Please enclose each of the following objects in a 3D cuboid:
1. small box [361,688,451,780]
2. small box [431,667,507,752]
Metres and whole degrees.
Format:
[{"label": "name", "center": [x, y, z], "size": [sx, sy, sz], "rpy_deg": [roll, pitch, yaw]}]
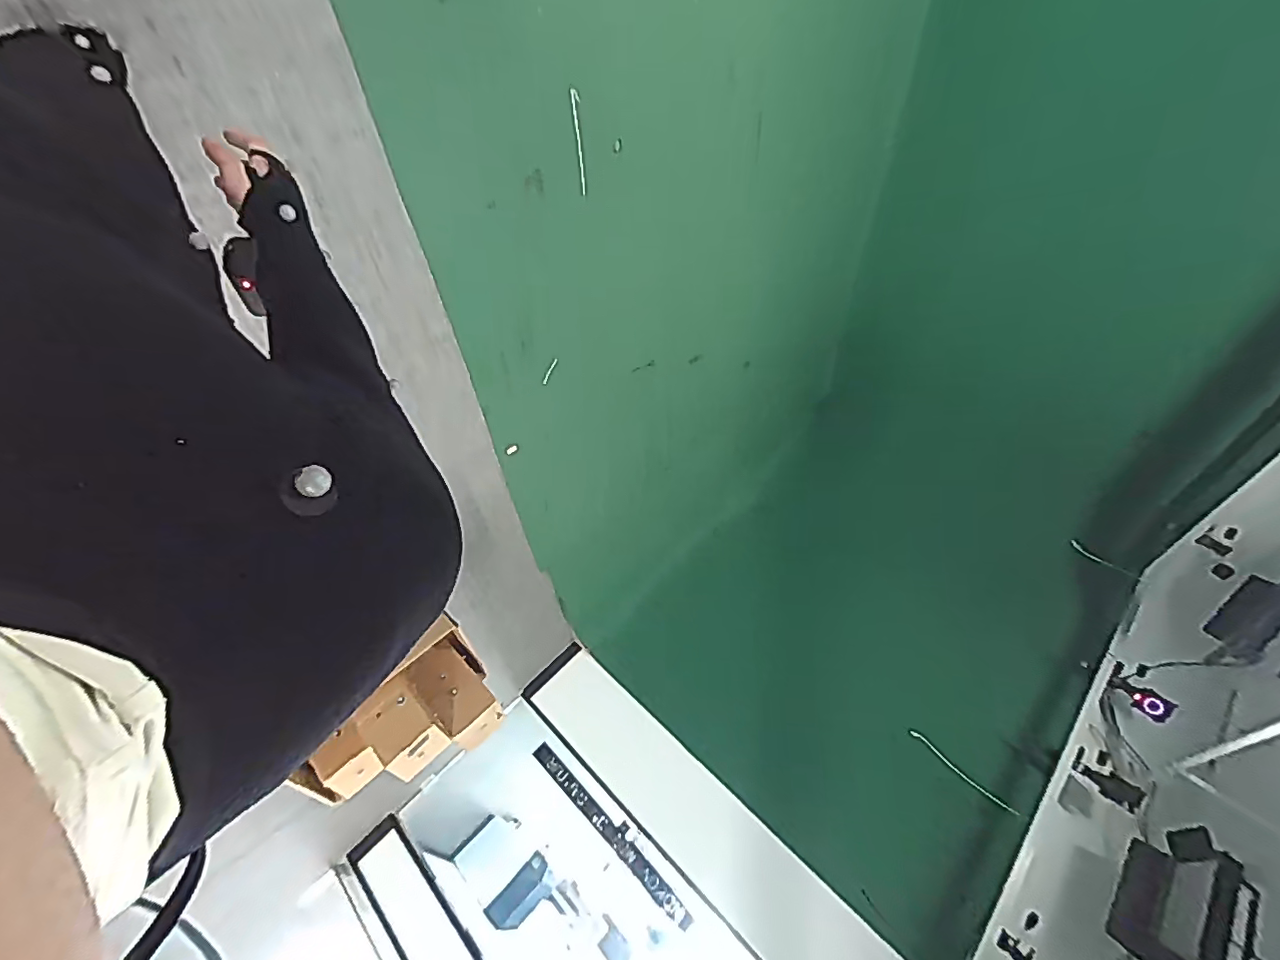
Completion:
[{"label": "small box", "center": [-0.718, 0.772, 1.658], "size": [0.168, 0.176, 0.179], "rpy_deg": [-39, 147, -26]}, {"label": "small box", "center": [-0.591, 0.783, 1.853], "size": [0.179, 0.176, 0.168], "rpy_deg": [-37, 145, -26]}]
